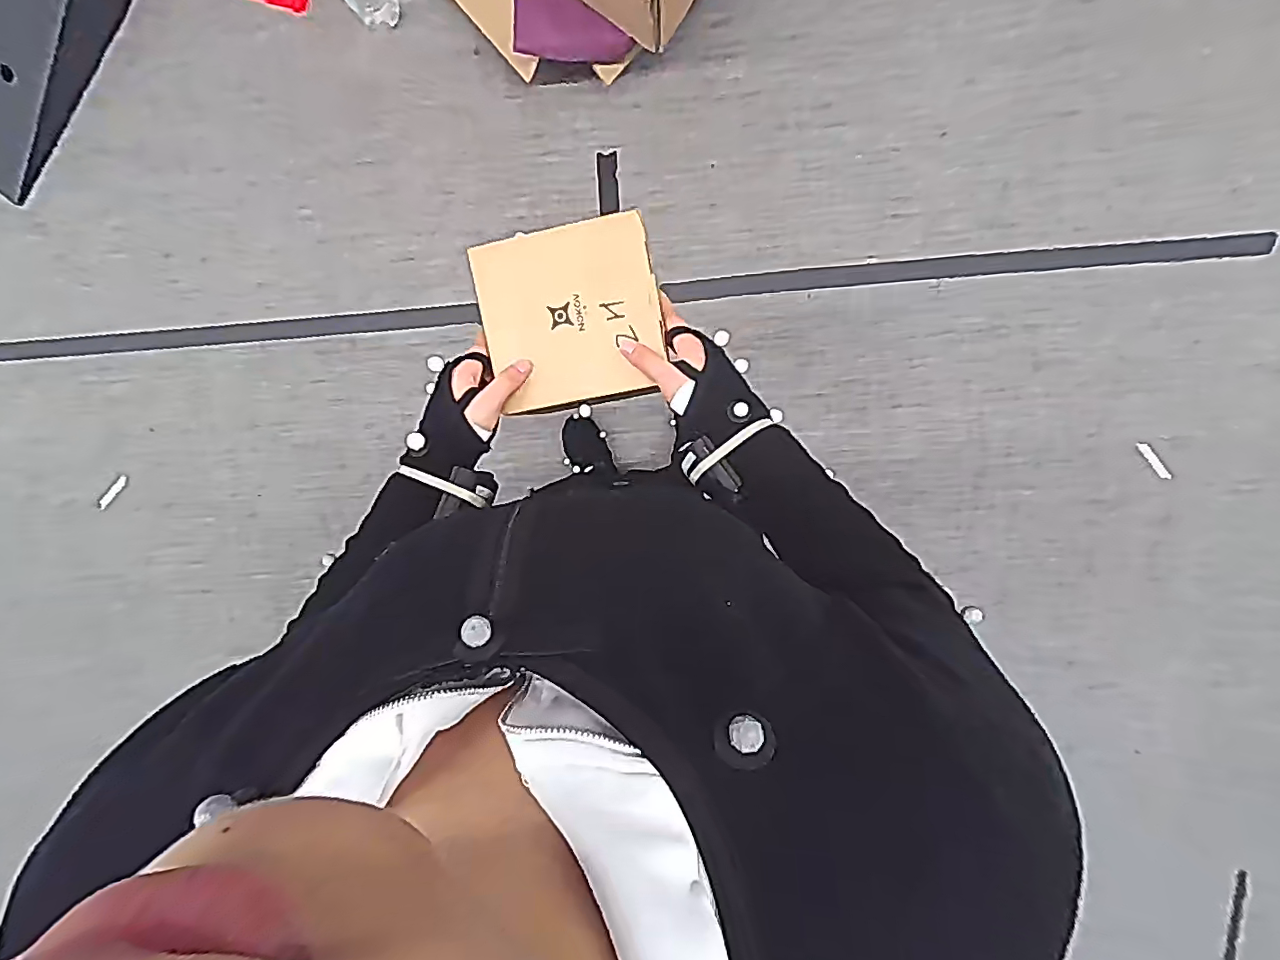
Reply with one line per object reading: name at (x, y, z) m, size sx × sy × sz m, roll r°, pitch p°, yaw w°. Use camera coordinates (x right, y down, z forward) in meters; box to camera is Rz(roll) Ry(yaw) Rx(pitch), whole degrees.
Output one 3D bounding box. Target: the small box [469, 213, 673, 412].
small box at (-0.063, -0.169, 0.606) m, size 0.179 × 0.176 × 0.168 m, roll -10°, pitch 97°, yaw 6°
